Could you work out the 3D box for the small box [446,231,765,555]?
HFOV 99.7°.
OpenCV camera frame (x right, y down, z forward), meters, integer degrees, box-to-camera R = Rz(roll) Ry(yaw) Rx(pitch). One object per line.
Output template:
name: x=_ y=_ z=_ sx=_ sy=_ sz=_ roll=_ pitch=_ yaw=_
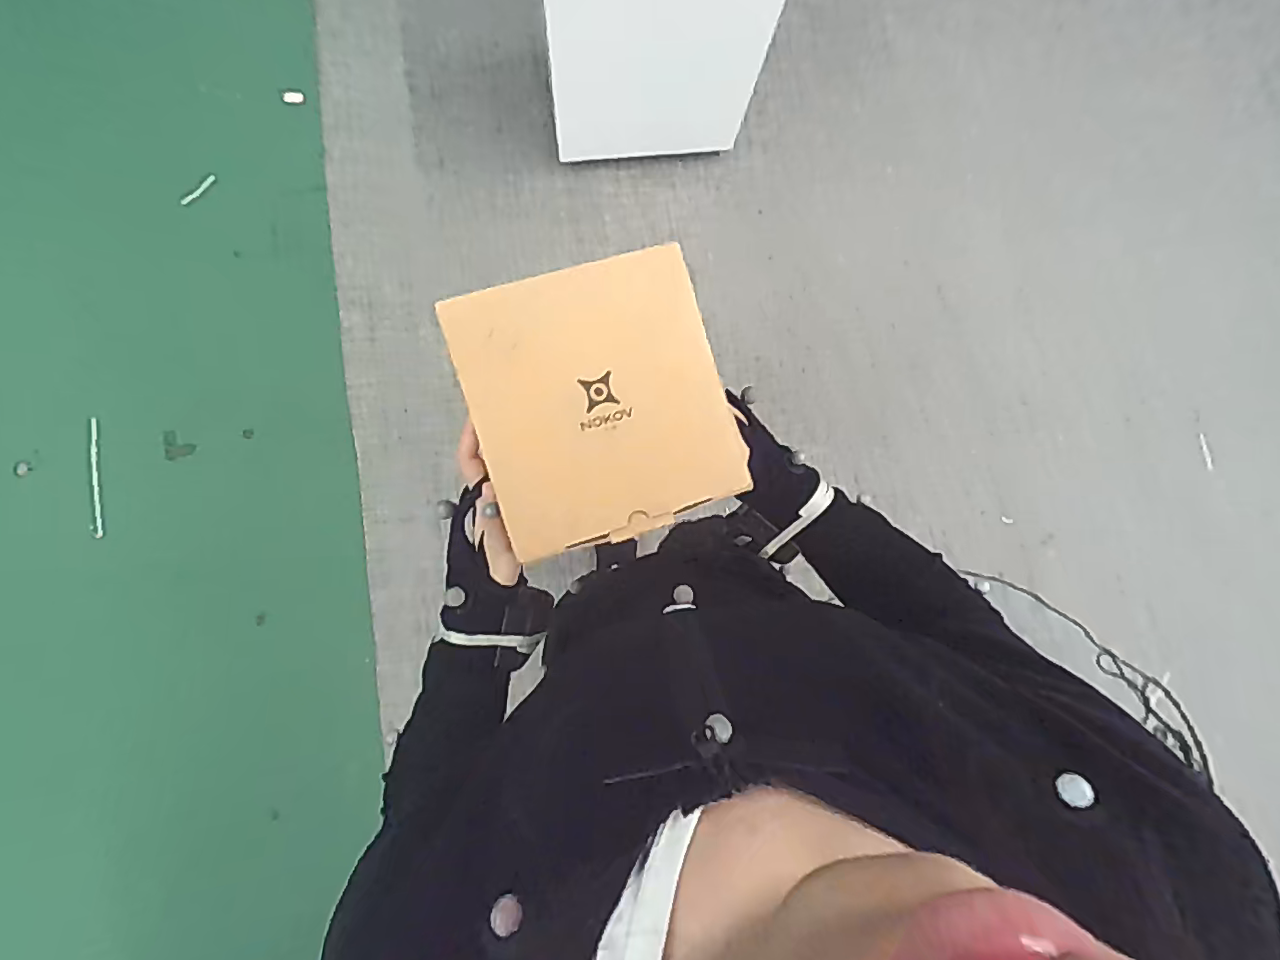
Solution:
small box: x=-0.032 y=-0.054 z=0.417 sx=0.168 sy=0.176 sz=0.179 roll=-18 pitch=91 yaw=-10
